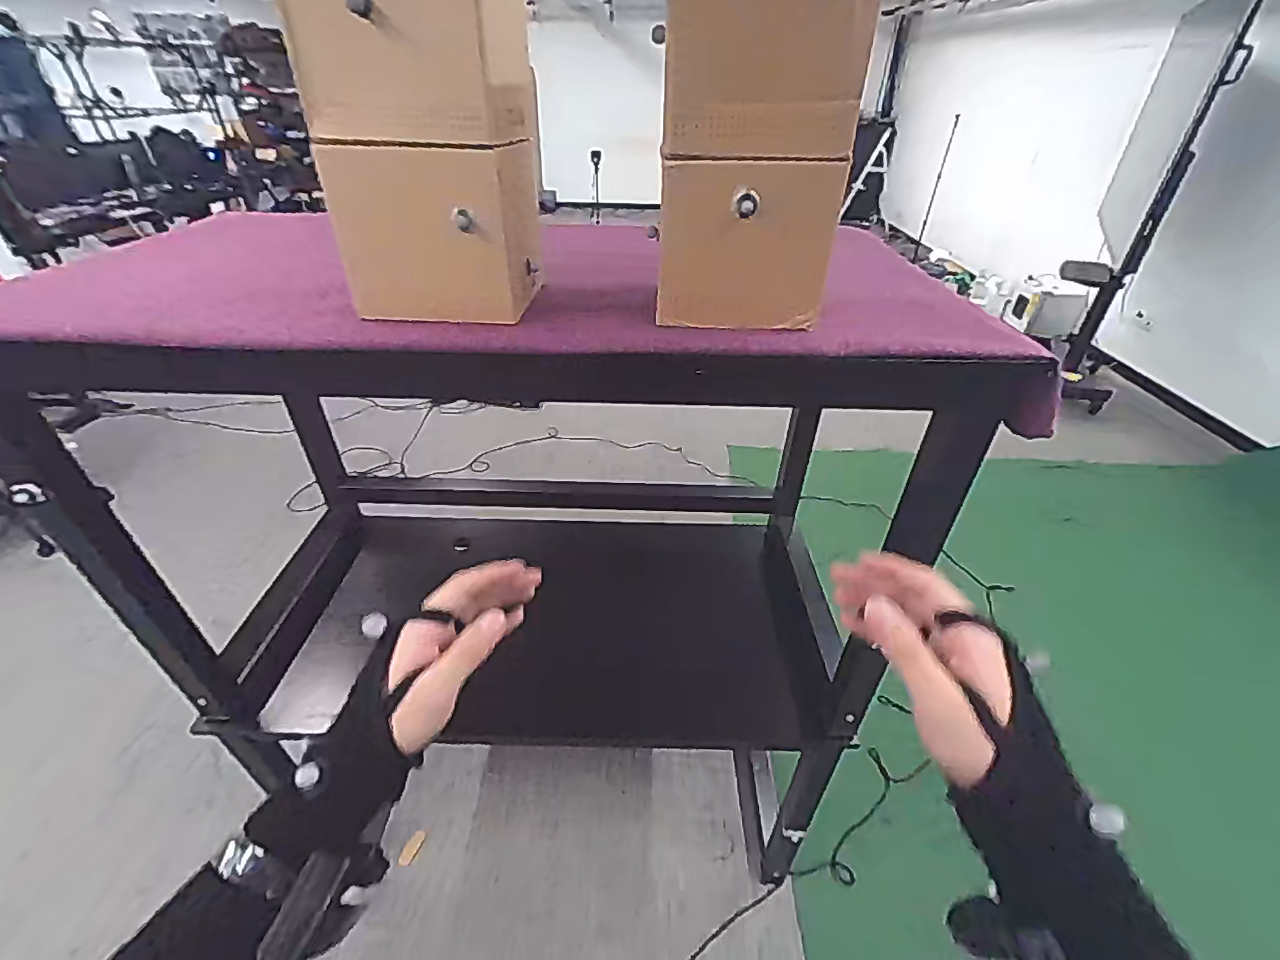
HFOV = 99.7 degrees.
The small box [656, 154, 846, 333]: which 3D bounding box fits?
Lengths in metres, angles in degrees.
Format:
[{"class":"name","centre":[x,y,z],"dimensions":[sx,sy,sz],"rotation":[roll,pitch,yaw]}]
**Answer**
[{"class":"small box","centre":[0.108,-0.274,0.606],"dimensions":[0.179,0.176,0.168],"rotation":[3,38,2]}]

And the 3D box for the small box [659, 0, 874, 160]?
[{"class":"small box","centre":[0.109,-0.404,0.510],"dimensions":[0.179,0.176,0.168],"rotation":[3,38,3]}]

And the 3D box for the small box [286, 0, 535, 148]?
[{"class":"small box","centre":[-0.209,-0.417,0.514],"dimensions":[0.179,0.176,0.168],"rotation":[2,36,2]}]
